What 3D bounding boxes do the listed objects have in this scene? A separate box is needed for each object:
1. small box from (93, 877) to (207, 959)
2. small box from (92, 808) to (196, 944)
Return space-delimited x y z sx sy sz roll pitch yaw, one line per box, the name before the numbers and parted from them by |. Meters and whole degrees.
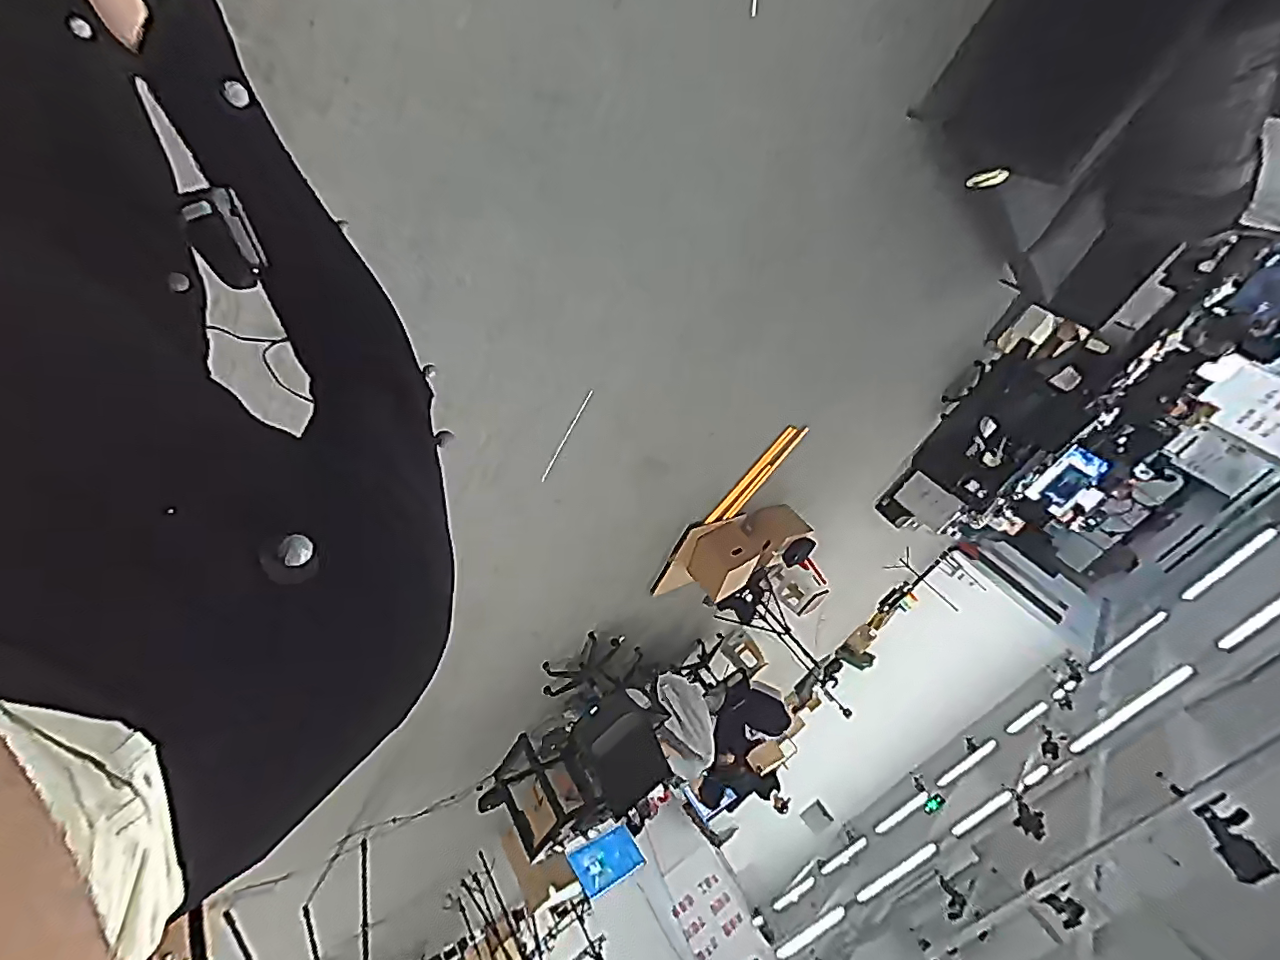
small box | -1.033 0.988 1.138 0.168 0.176 0.179 1 129 -47
small box | -1.131 0.894 1.231 0.168 0.176 0.179 -1 129 -45
